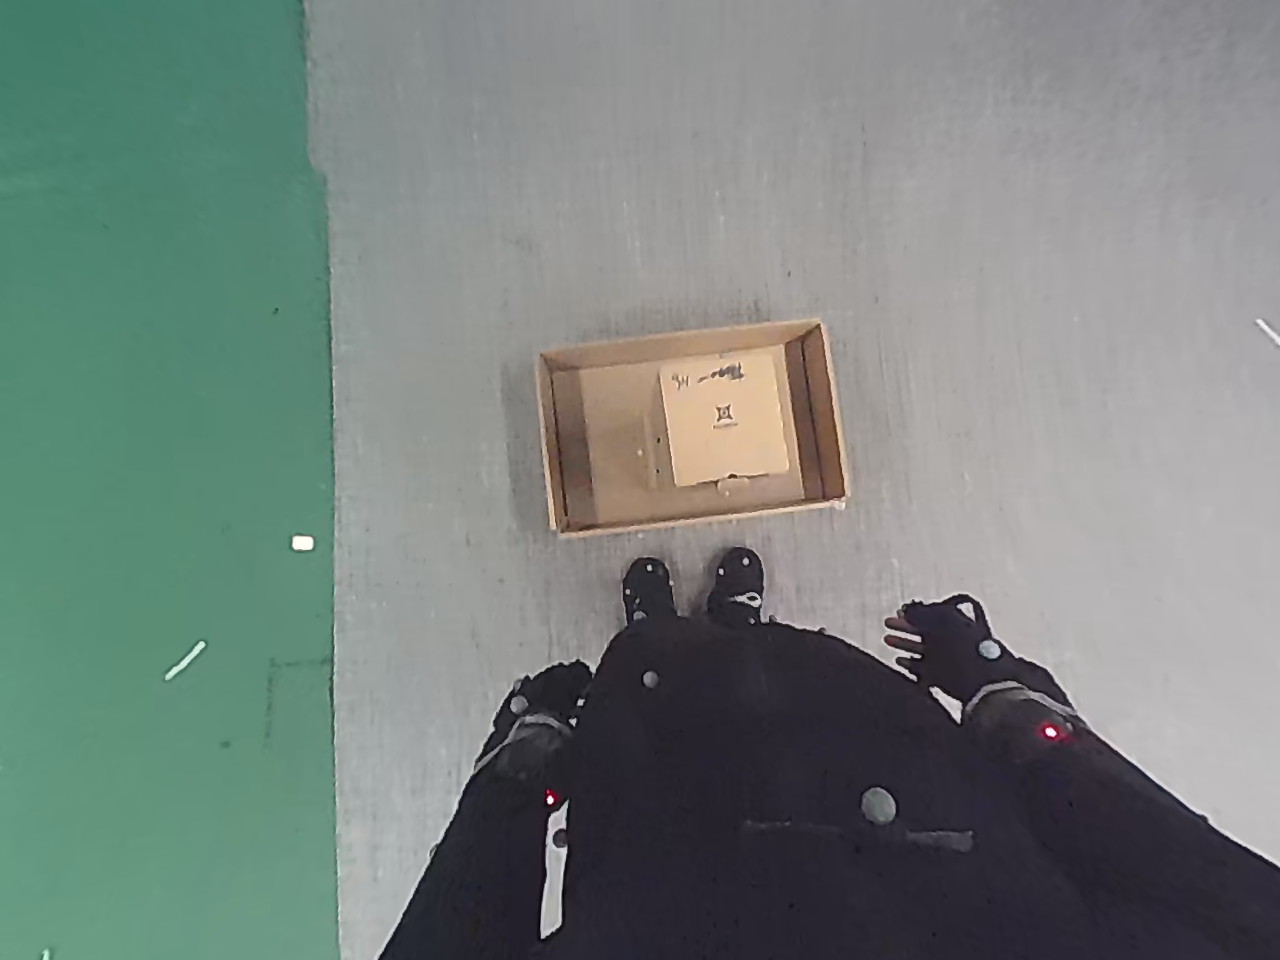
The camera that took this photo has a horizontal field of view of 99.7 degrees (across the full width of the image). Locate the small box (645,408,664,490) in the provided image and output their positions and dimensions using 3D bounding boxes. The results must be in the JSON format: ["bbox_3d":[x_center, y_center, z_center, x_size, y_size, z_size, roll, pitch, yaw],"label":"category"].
[{"bbox_3d":[0.105,-0.069,1.174,0.179,0.176,0.168,-6,86,1],"label":"small box"}]

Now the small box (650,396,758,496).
[{"bbox_3d":[0.113,-0.069,0.996,0.168,0.176,0.179,-11,87,-1],"label":"small box"}]

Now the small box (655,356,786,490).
[{"bbox_3d":[0.117,-0.079,0.849,0.168,0.176,0.179,-8,87,-2],"label":"small box"}]
